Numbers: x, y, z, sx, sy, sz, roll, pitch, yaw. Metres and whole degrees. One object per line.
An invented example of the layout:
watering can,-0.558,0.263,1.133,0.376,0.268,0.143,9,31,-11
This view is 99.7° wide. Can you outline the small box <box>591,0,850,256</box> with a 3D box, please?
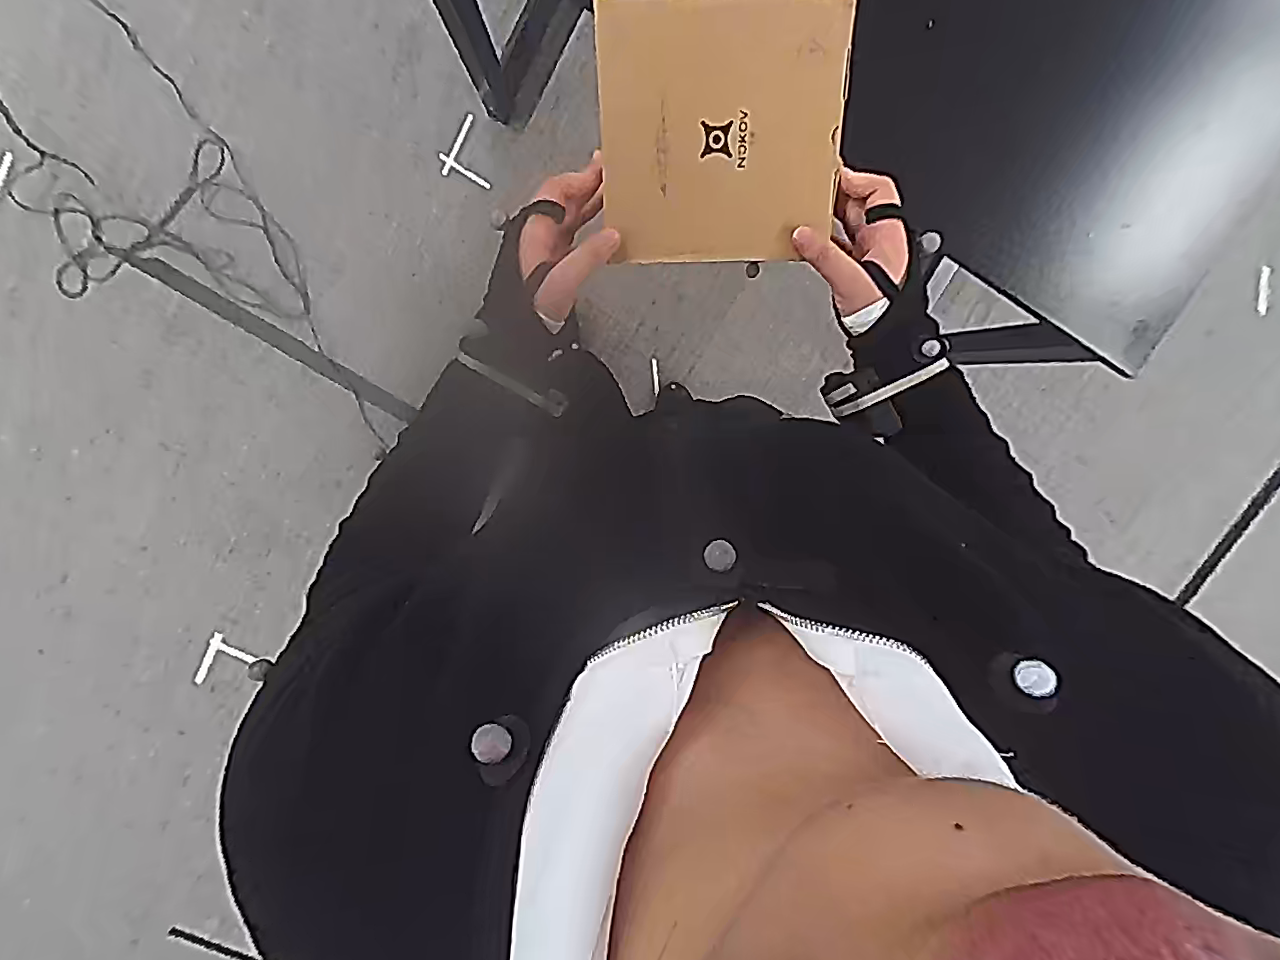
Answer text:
small box,0.054,-0.283,0.461,0.179,0.176,0.168,-2,112,0
